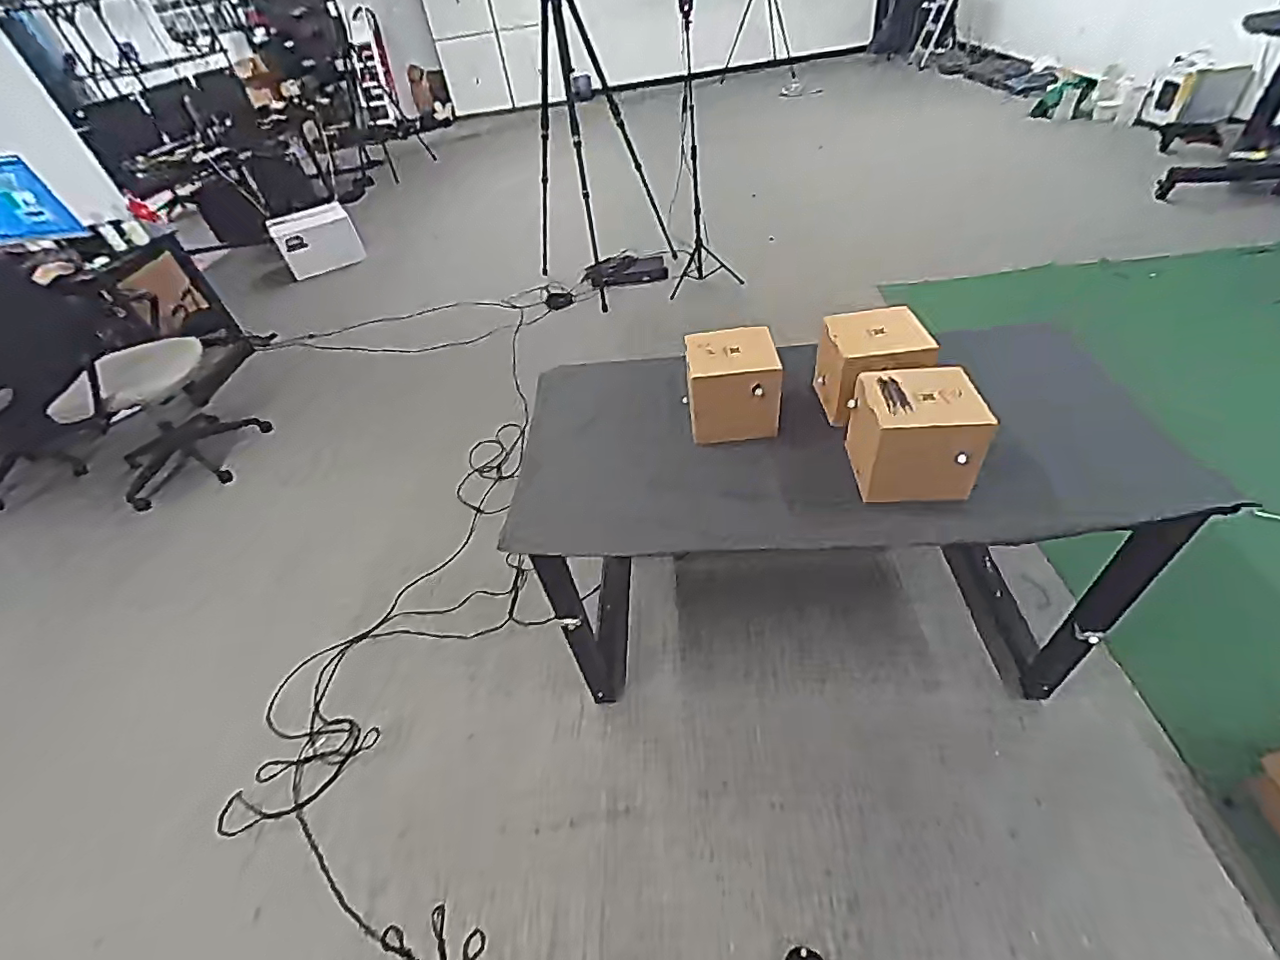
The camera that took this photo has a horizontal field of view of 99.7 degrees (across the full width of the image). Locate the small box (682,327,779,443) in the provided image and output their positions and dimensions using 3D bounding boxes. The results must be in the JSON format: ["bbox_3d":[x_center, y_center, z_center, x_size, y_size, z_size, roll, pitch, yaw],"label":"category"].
[{"bbox_3d":[0.184,-0.196,1.125,0.179,0.176,0.168,-6,43,5],"label":"small box"}]

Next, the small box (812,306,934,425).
[{"bbox_3d":[0.466,-0.232,1.112,0.179,0.176,0.168,-7,44,5],"label":"small box"}]
